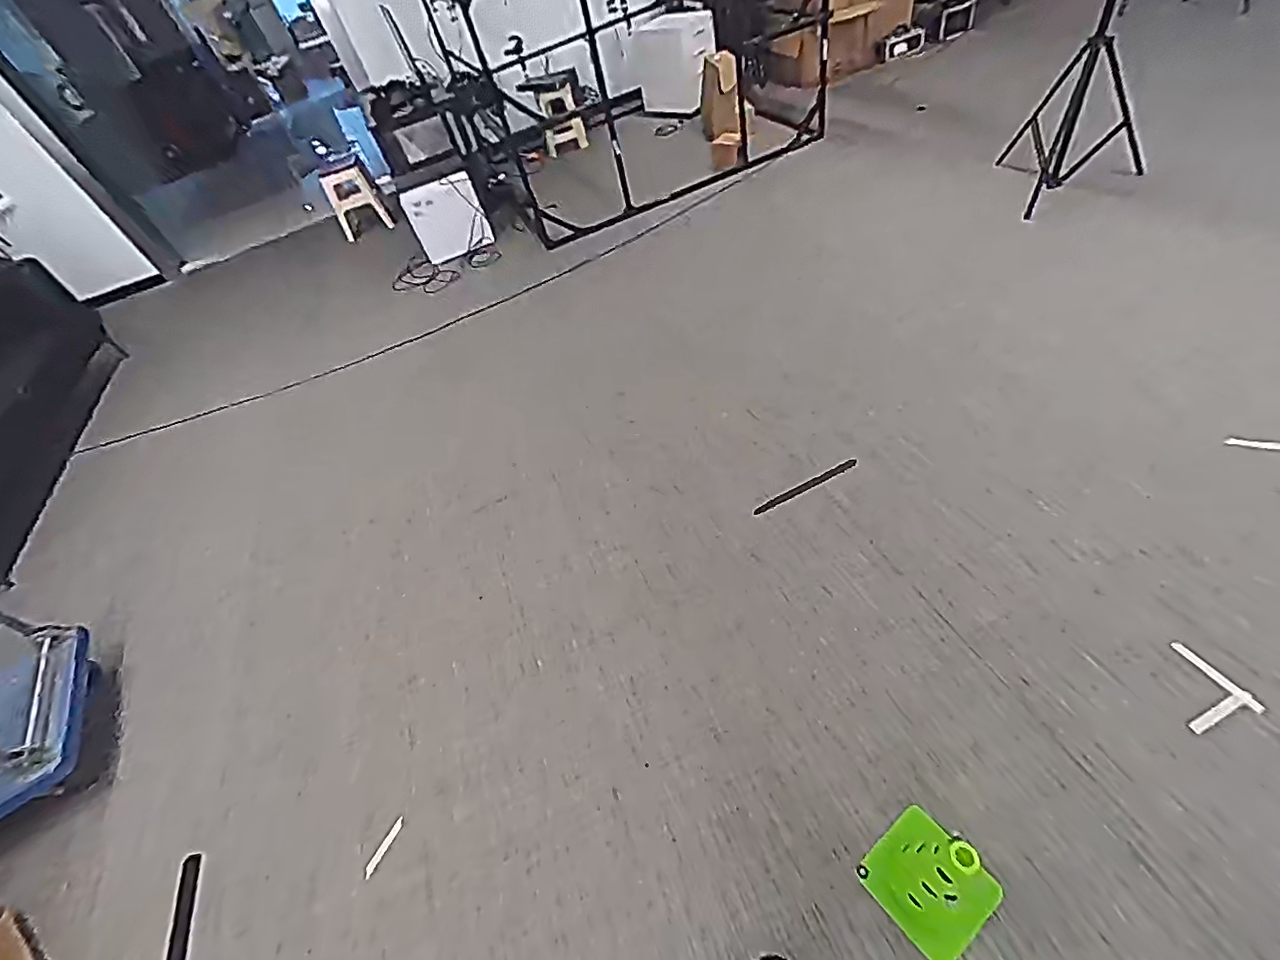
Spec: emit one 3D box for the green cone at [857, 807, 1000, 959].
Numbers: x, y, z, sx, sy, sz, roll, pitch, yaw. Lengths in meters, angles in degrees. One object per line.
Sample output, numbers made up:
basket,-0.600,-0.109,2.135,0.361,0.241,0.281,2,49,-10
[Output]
green cone,0.533,0.683,0.943,0.202,0.368,0.200,-36,50,-17
